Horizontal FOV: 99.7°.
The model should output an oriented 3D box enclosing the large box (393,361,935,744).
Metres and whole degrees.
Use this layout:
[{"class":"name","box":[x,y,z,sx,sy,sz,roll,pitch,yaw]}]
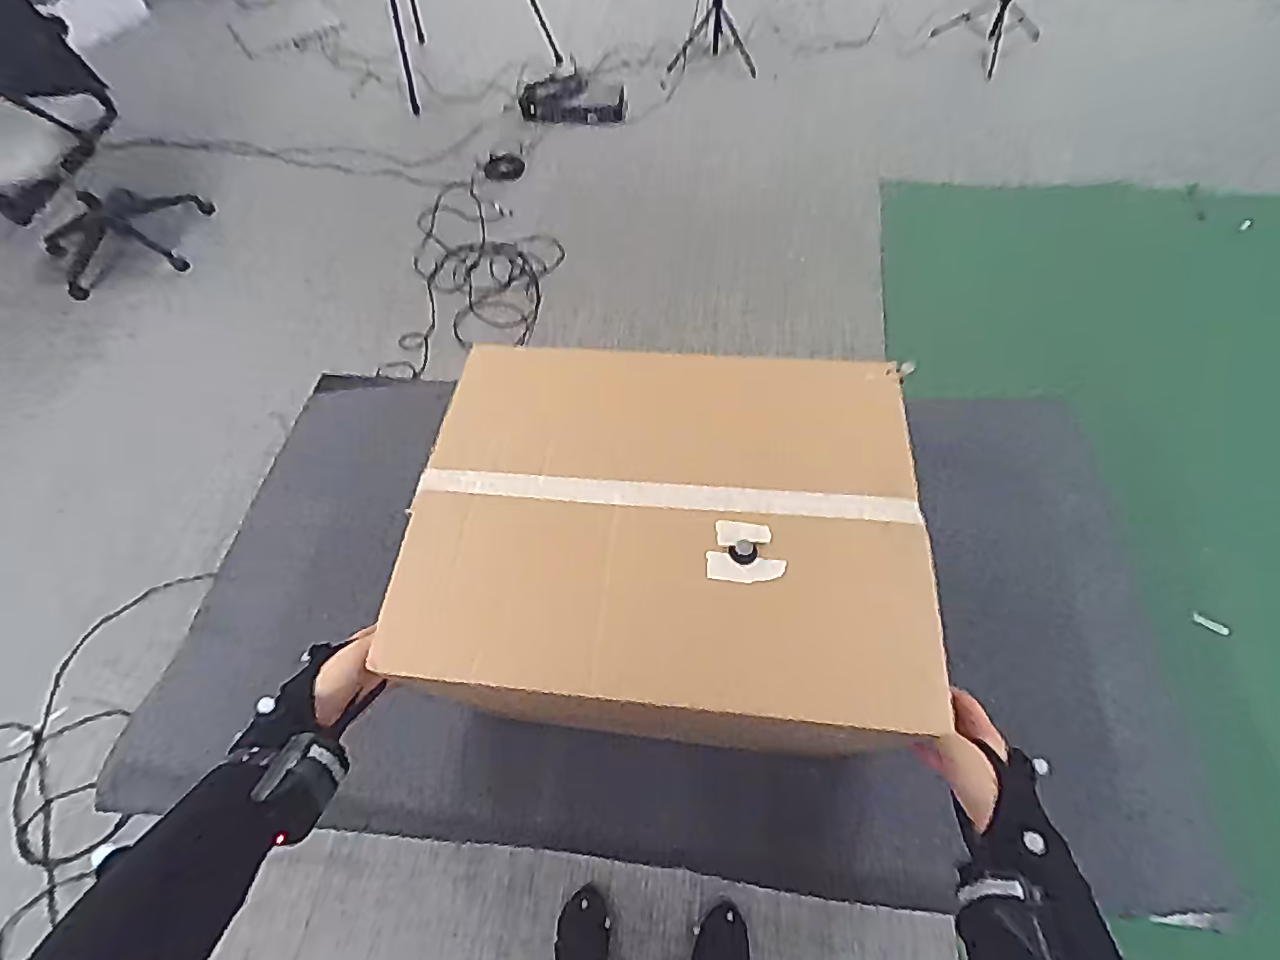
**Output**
[{"class":"large box","box":[0.028,0.093,0.591,0.408,0.320,0.320,4,62,5]}]
